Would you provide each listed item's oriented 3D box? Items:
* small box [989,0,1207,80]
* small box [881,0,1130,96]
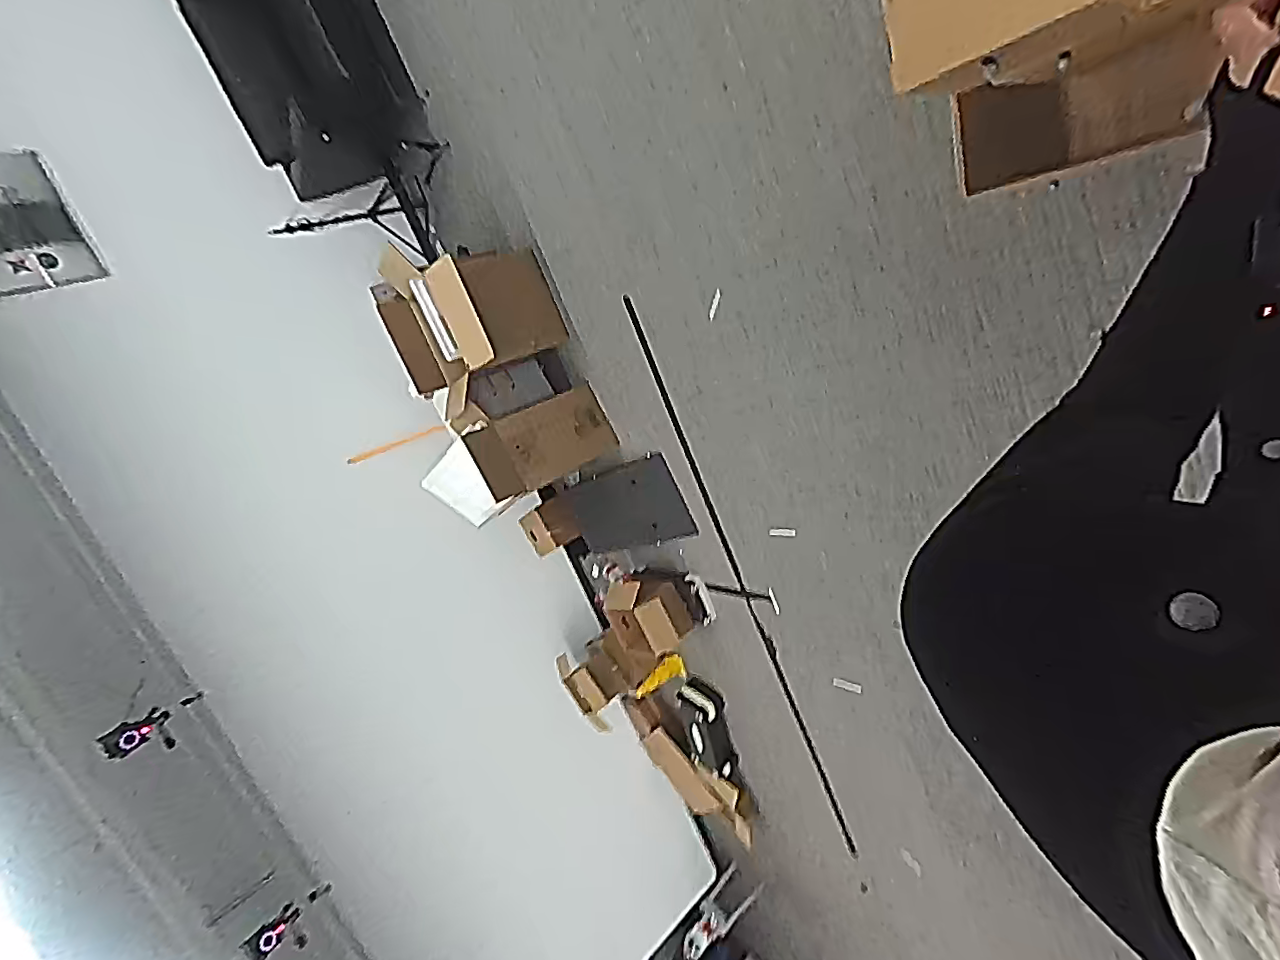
[{"bbox_3d":[0.494,-0.572,0.590,0.168,0.176,0.179,4,117,53],"label":"small box"},{"bbox_3d":[0.358,-0.507,0.524,0.179,0.176,0.168,8,121,52],"label":"small box"}]
